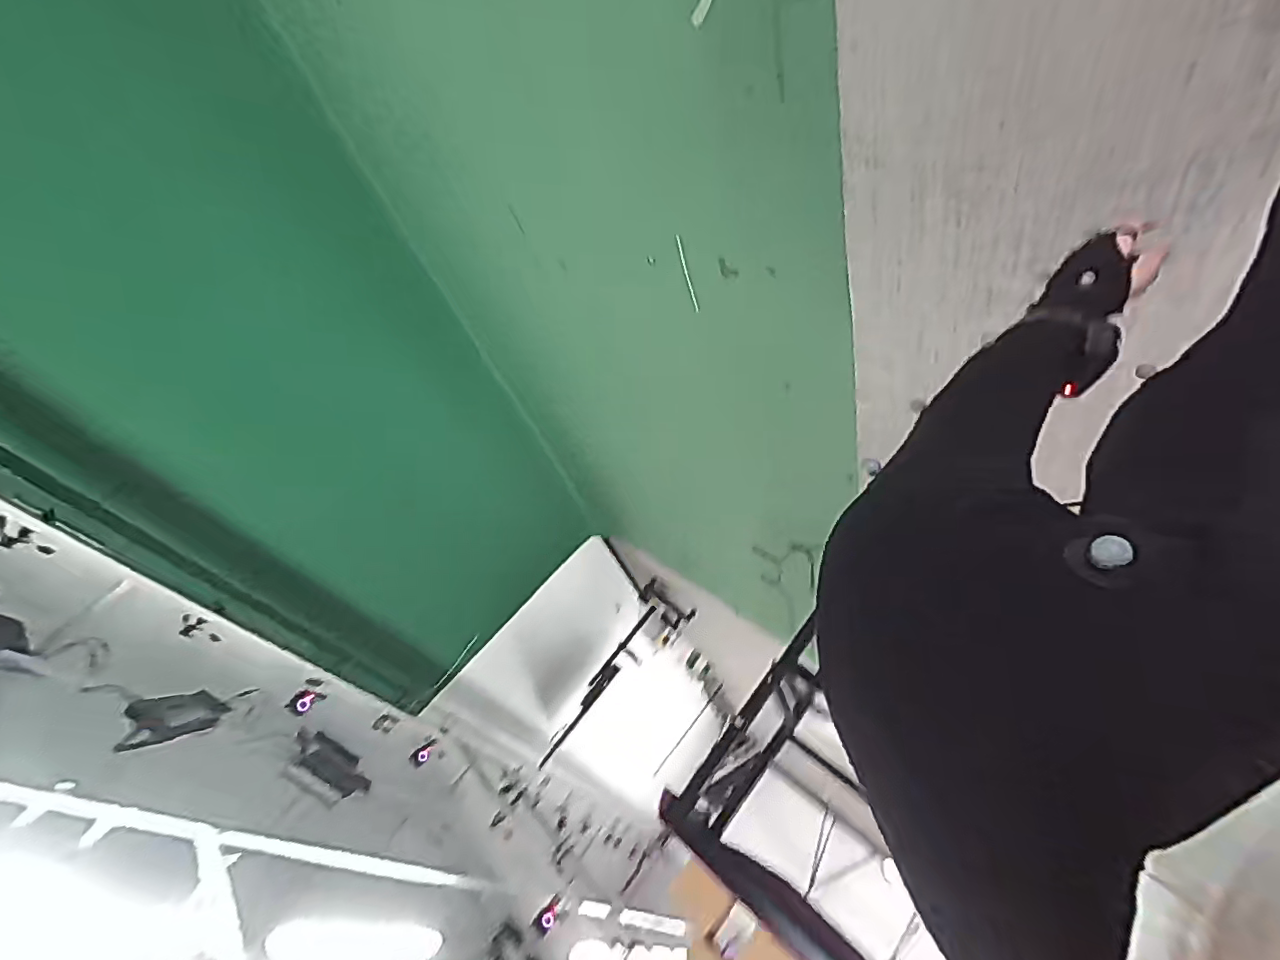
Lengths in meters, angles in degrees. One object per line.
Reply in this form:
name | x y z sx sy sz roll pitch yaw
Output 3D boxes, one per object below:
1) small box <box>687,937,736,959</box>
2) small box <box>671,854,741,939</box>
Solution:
small box | 0.243 1.649 1.783 0.179 0.176 0.168 28 157 38
small box | 0.244 1.485 1.929 0.179 0.176 0.168 26 156 39
